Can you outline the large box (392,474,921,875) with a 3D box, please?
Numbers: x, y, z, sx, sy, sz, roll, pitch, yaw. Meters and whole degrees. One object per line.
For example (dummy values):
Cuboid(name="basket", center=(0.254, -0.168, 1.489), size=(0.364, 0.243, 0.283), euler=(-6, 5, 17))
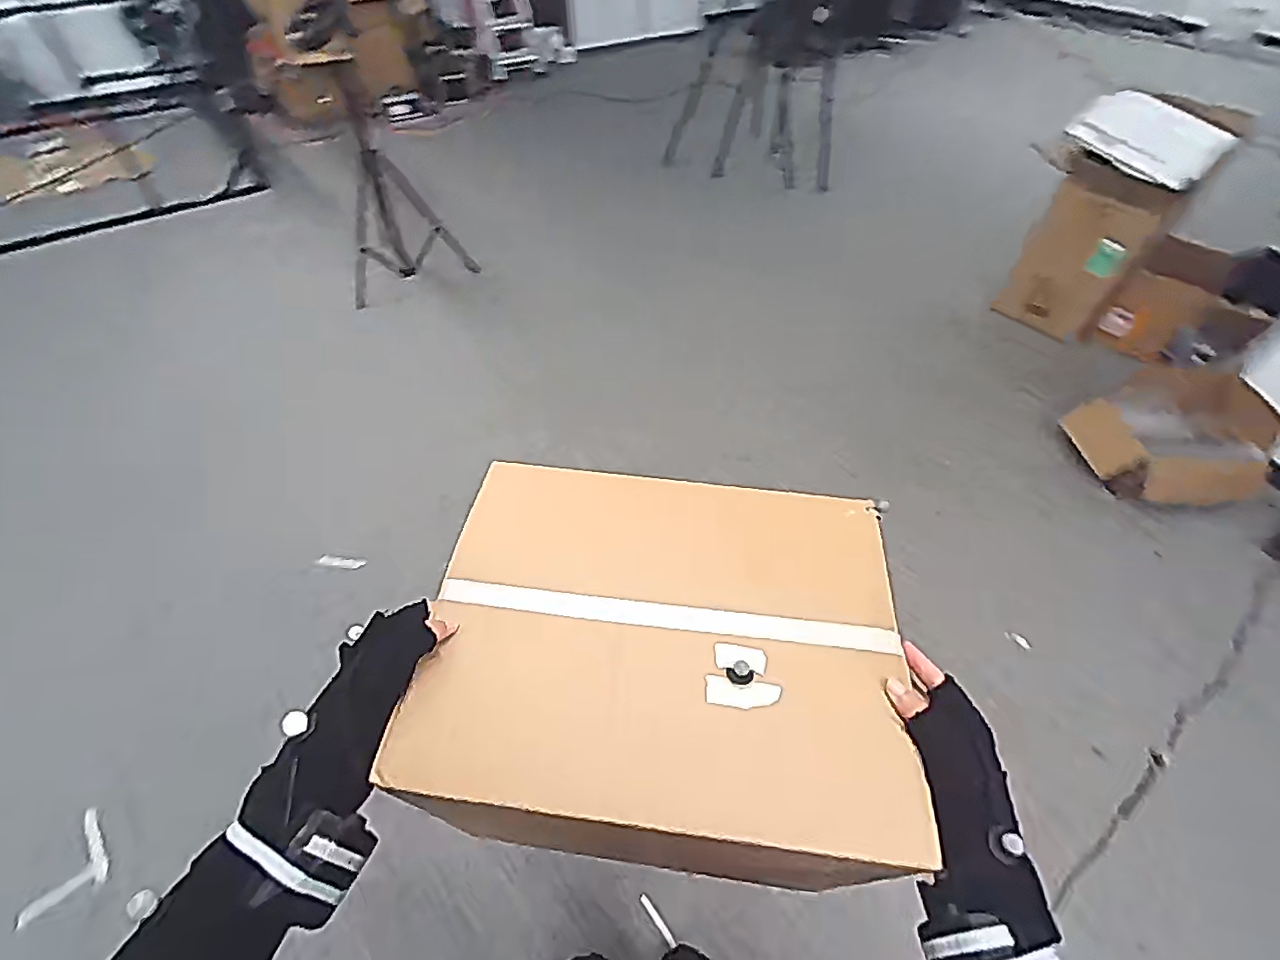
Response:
Cuboid(name="large box", center=(0.018, 0.221, 0.606), size=(0.408, 0.320, 0.320), euler=(6, 51, 3))
